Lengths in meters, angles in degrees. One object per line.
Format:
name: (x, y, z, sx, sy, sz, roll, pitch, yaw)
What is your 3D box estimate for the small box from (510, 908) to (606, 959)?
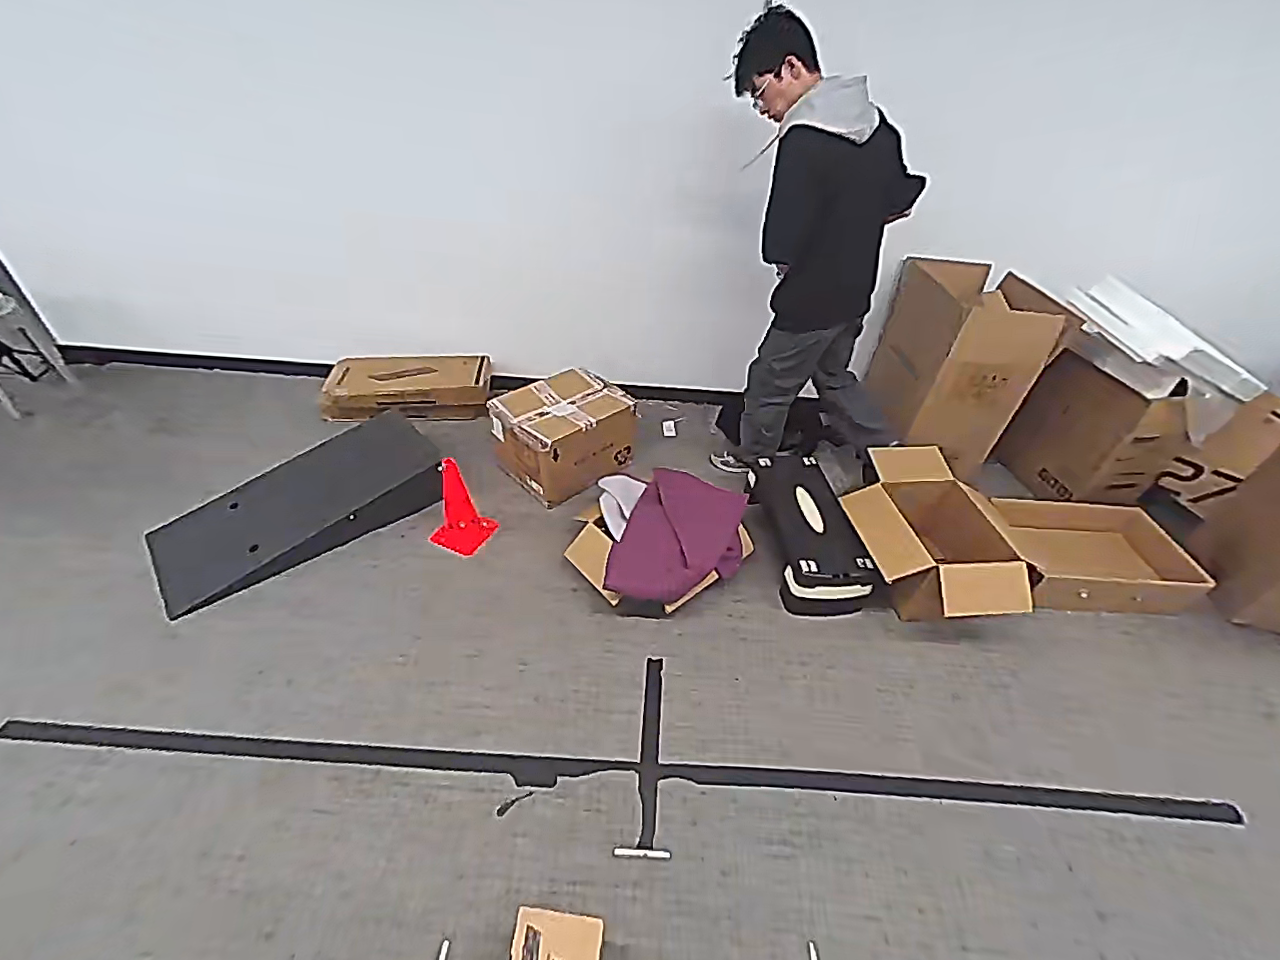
small box: (-0.168, 0.988, 1.075, 0.179, 0.176, 0.168, 7, 40, 3)
